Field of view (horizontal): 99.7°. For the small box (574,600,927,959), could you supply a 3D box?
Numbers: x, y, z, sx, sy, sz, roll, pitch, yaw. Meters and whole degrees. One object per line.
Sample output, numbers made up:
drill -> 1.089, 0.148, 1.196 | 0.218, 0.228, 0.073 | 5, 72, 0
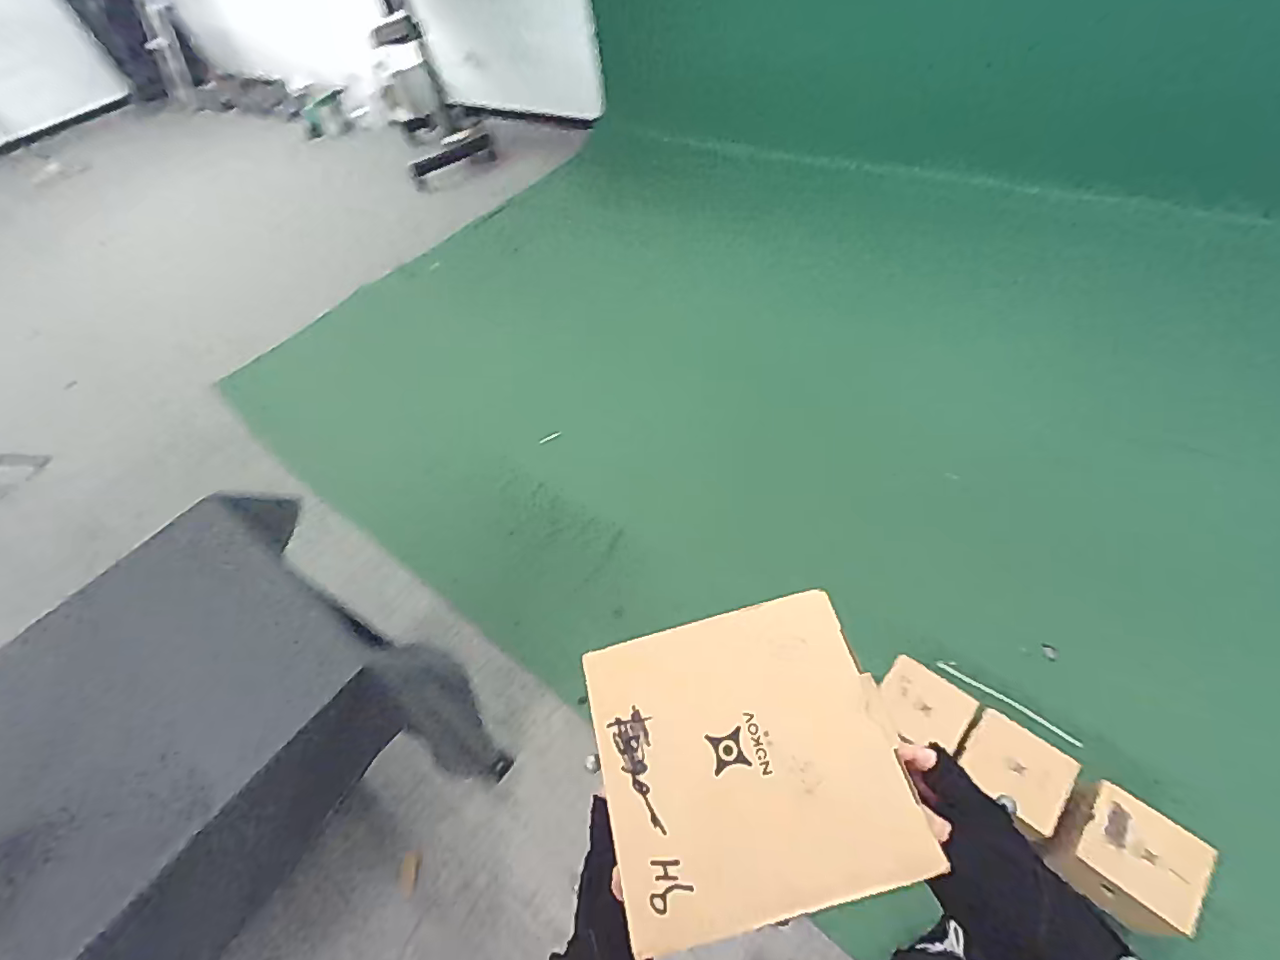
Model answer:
small box -> 0.063, 0.211, 0.396 | 0.179, 0.176, 0.168 | -15, 55, -2
